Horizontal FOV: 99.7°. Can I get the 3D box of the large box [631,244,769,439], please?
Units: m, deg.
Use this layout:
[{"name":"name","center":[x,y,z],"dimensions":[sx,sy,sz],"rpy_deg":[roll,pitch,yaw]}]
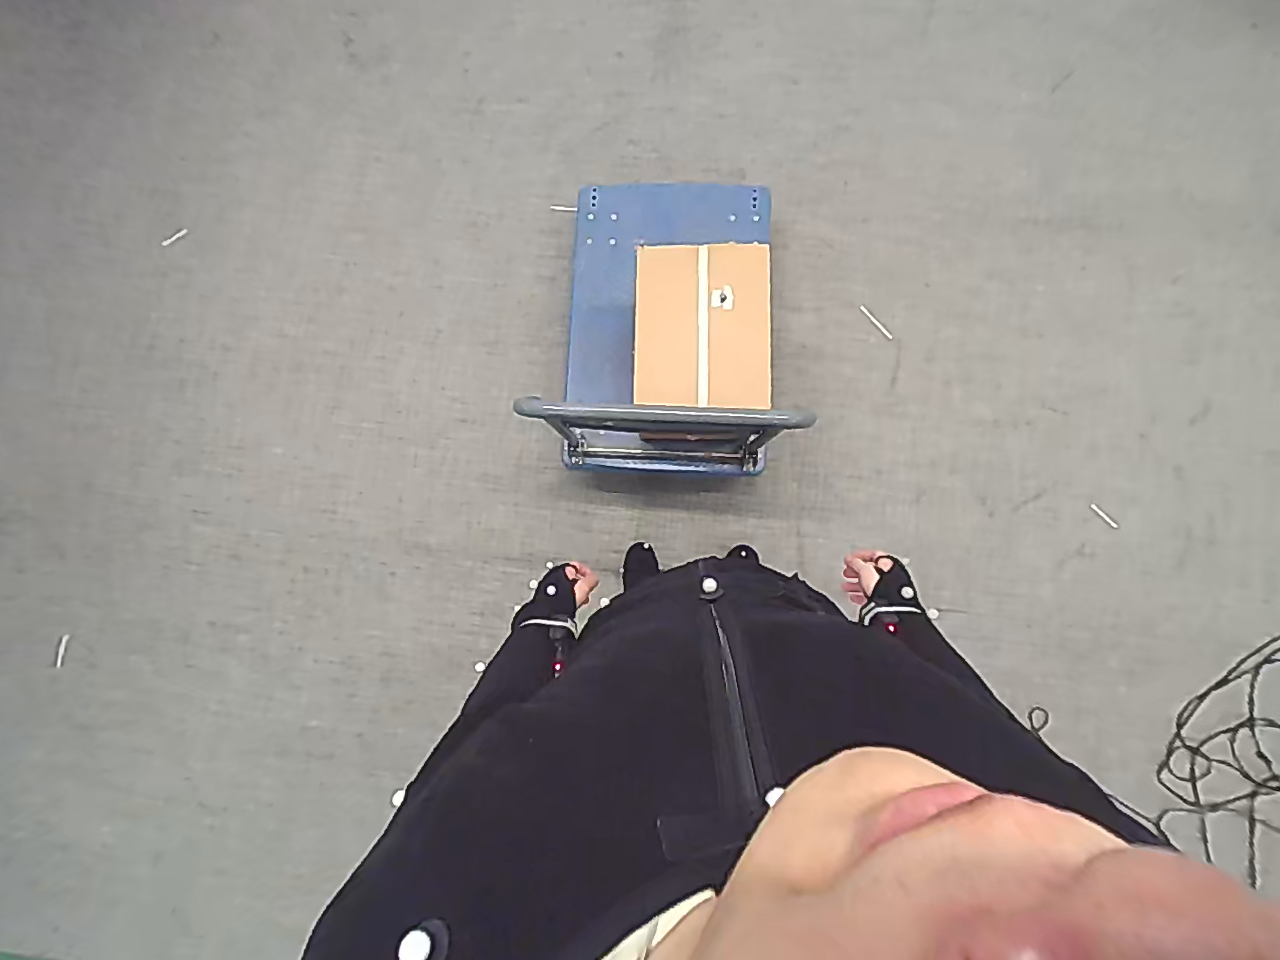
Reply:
[{"name":"large box","center":[0.145,-0.332,1.385],"dimensions":[0.320,0.320,0.408],"rpy_deg":[1,82,2]}]
